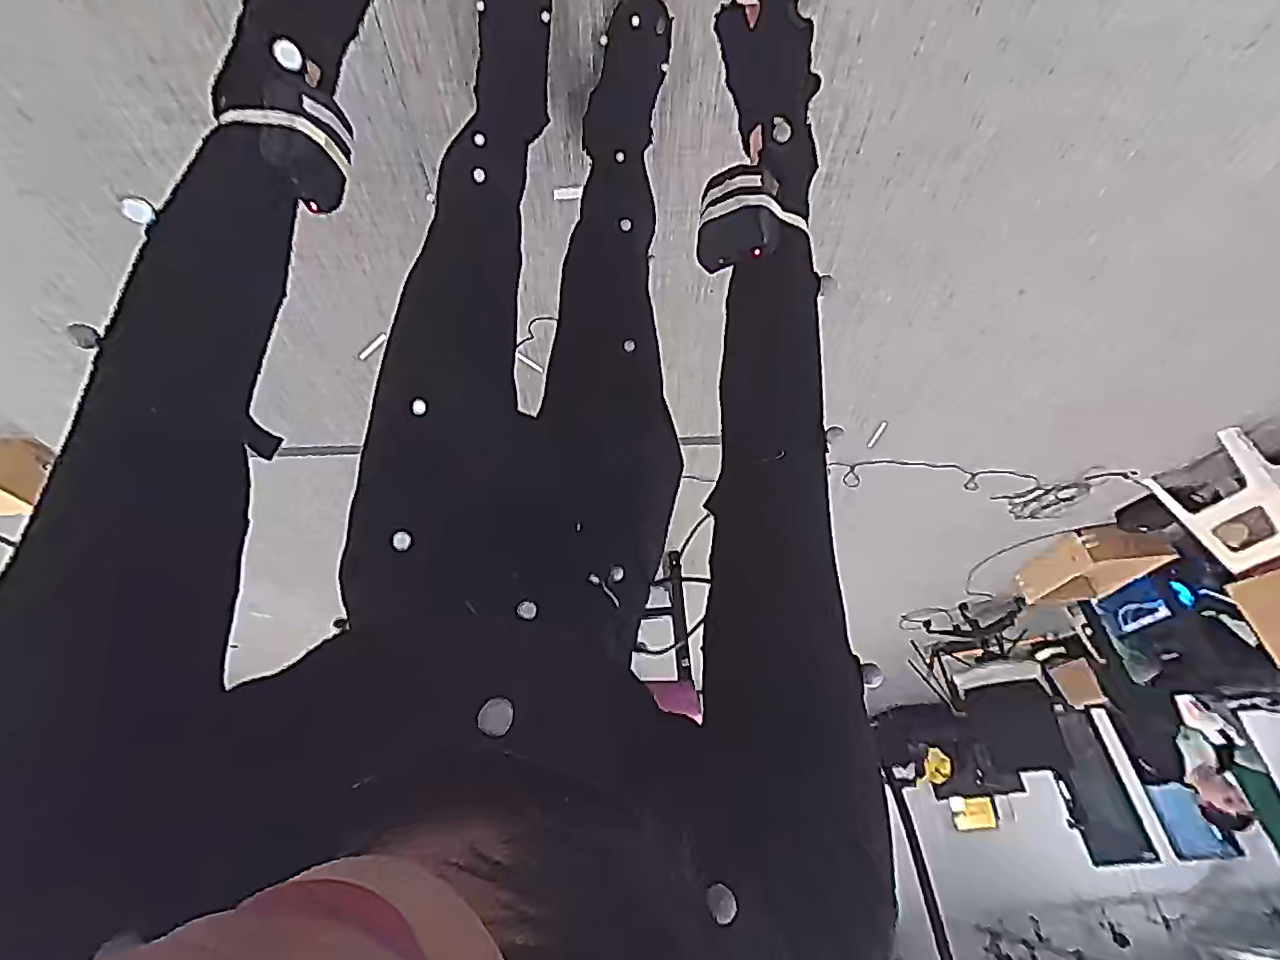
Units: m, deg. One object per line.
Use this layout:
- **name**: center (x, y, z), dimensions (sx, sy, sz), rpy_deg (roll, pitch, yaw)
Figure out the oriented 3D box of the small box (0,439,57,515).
- **small box**: center (-1.929, -0.009, 1.613), dimensions (0.179, 0.176, 0.168), rpy_deg (-3, 148, -4)
